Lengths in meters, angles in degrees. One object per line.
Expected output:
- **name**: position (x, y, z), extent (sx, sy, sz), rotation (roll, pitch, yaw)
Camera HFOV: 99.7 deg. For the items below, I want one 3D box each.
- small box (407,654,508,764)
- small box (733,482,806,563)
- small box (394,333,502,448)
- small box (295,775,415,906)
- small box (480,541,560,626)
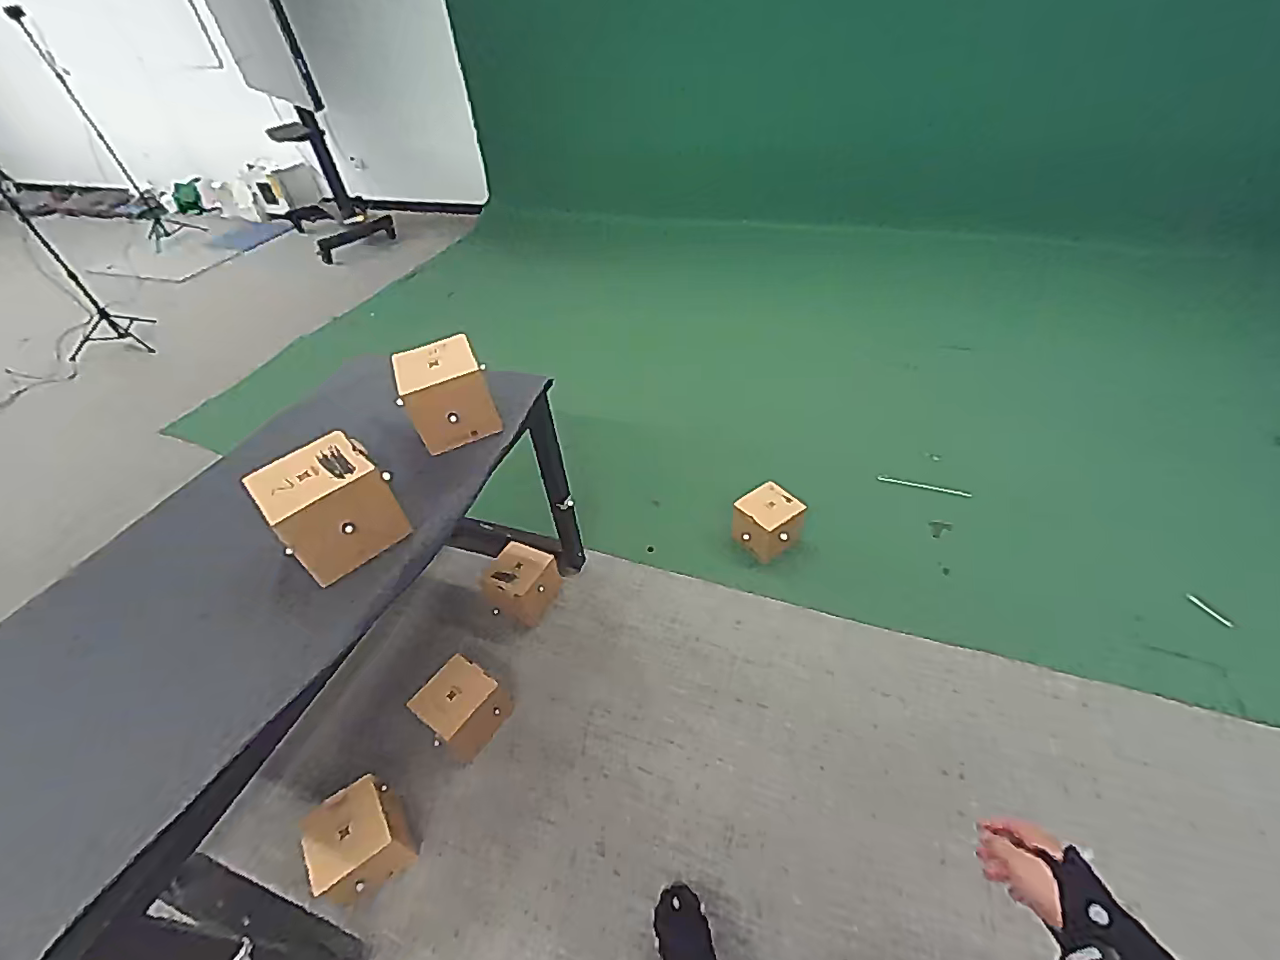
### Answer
- **small box**: position (-0.469, 0.604, 1.426), extent (0.168, 0.176, 0.179), rotation (23, 52, 27)
- **small box**: position (0.431, 0.146, 1.819), extent (0.179, 0.176, 0.168), rotation (-28, 48, -22)
- **small box**: position (-0.418, -0.190, 1.188), extent (0.168, 0.176, 0.179), rotation (-21, 45, -12)
- **small box**: position (-0.636, 0.818, 1.221), extent (0.168, 0.176, 0.179), rotation (-30, 48, -23)
- **small box**: position (-0.369, 0.329, 1.702), extent (0.168, 0.176, 0.179), rotation (16, 47, 21)
